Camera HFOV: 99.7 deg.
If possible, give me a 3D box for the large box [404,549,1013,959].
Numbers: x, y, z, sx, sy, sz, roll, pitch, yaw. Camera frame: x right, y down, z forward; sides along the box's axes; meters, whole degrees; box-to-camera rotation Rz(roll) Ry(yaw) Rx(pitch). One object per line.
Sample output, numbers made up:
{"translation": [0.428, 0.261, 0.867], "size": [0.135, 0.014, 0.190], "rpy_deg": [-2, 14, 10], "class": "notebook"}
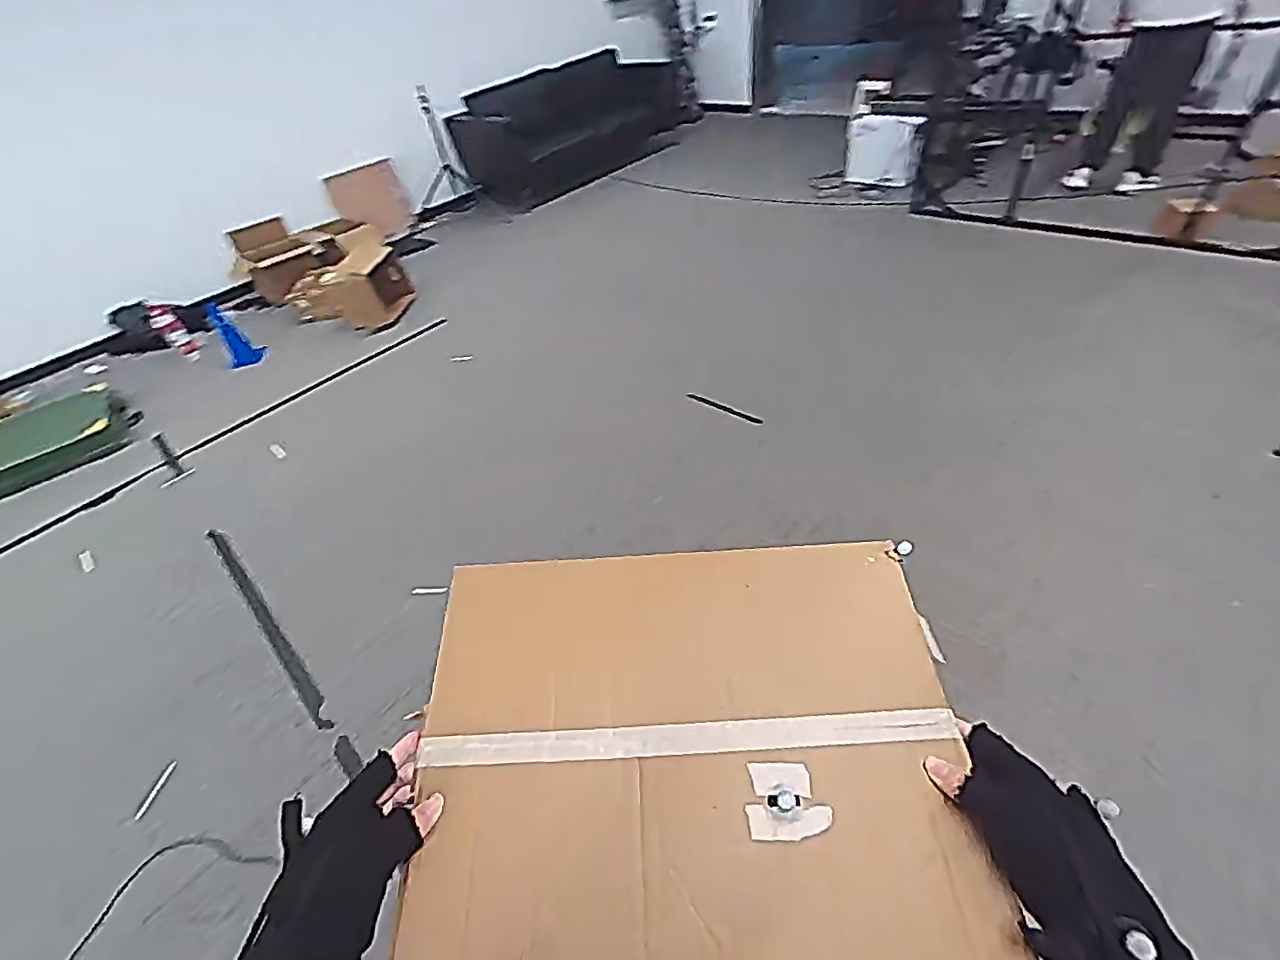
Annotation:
{"translation": [0.039, 0.291, 0.548], "size": [0.408, 0.320, 0.320], "rpy_deg": [-4, 55, 1], "class": "large box"}
